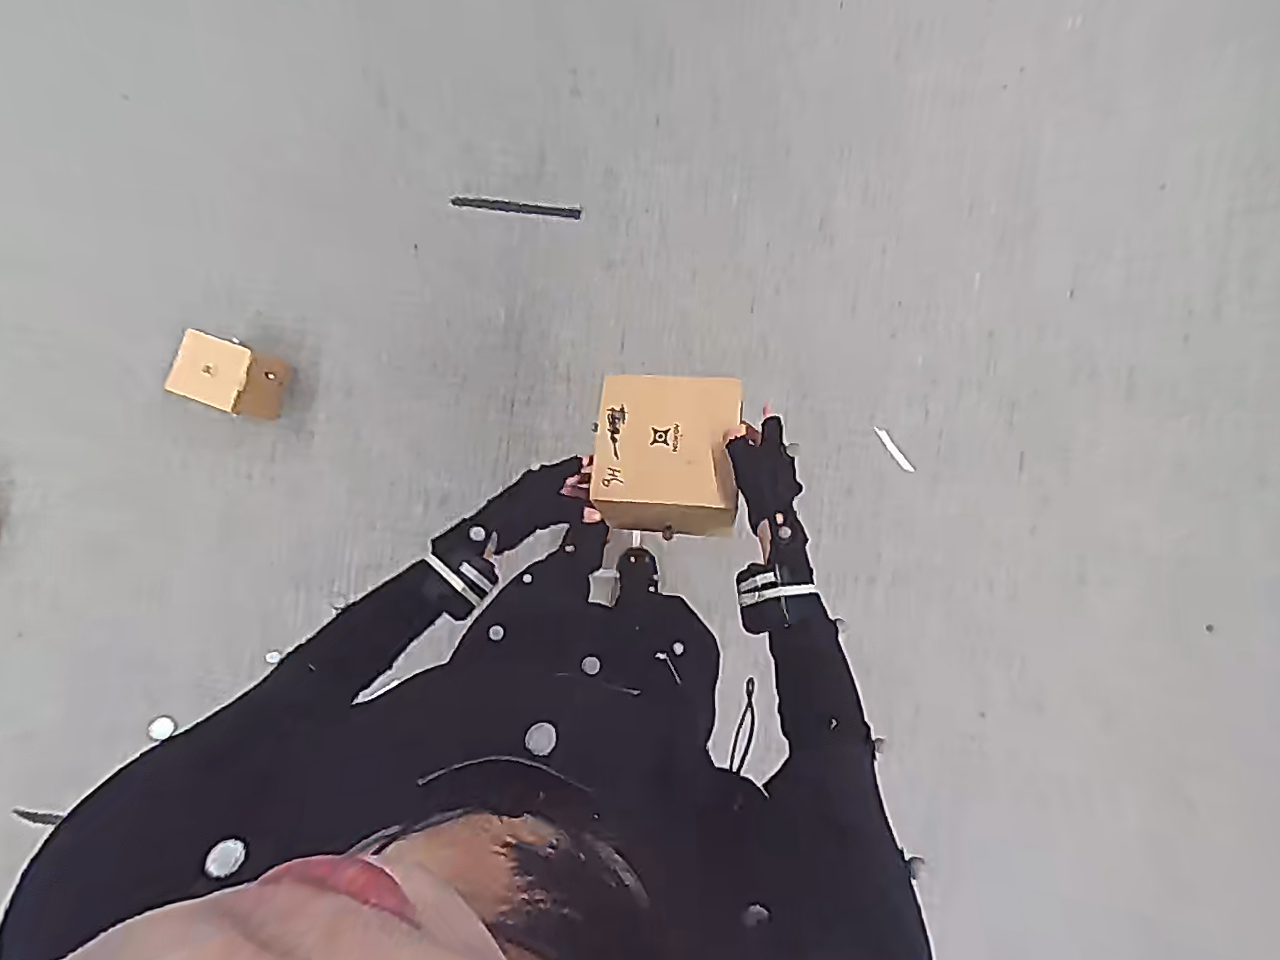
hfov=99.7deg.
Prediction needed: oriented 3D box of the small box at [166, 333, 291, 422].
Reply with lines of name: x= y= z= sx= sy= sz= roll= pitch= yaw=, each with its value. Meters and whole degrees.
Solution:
small box: x=-1.062 y=-0.257 z=1.412 sx=0.179 sy=0.176 sz=0.168 roll=19 pitch=87 yaw=0

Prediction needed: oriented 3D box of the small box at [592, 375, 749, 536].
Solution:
small box: x=0.045 y=-0.024 z=0.706 sx=0.179 sy=0.176 sz=0.168 roll=2 pitch=73 yaw=8
